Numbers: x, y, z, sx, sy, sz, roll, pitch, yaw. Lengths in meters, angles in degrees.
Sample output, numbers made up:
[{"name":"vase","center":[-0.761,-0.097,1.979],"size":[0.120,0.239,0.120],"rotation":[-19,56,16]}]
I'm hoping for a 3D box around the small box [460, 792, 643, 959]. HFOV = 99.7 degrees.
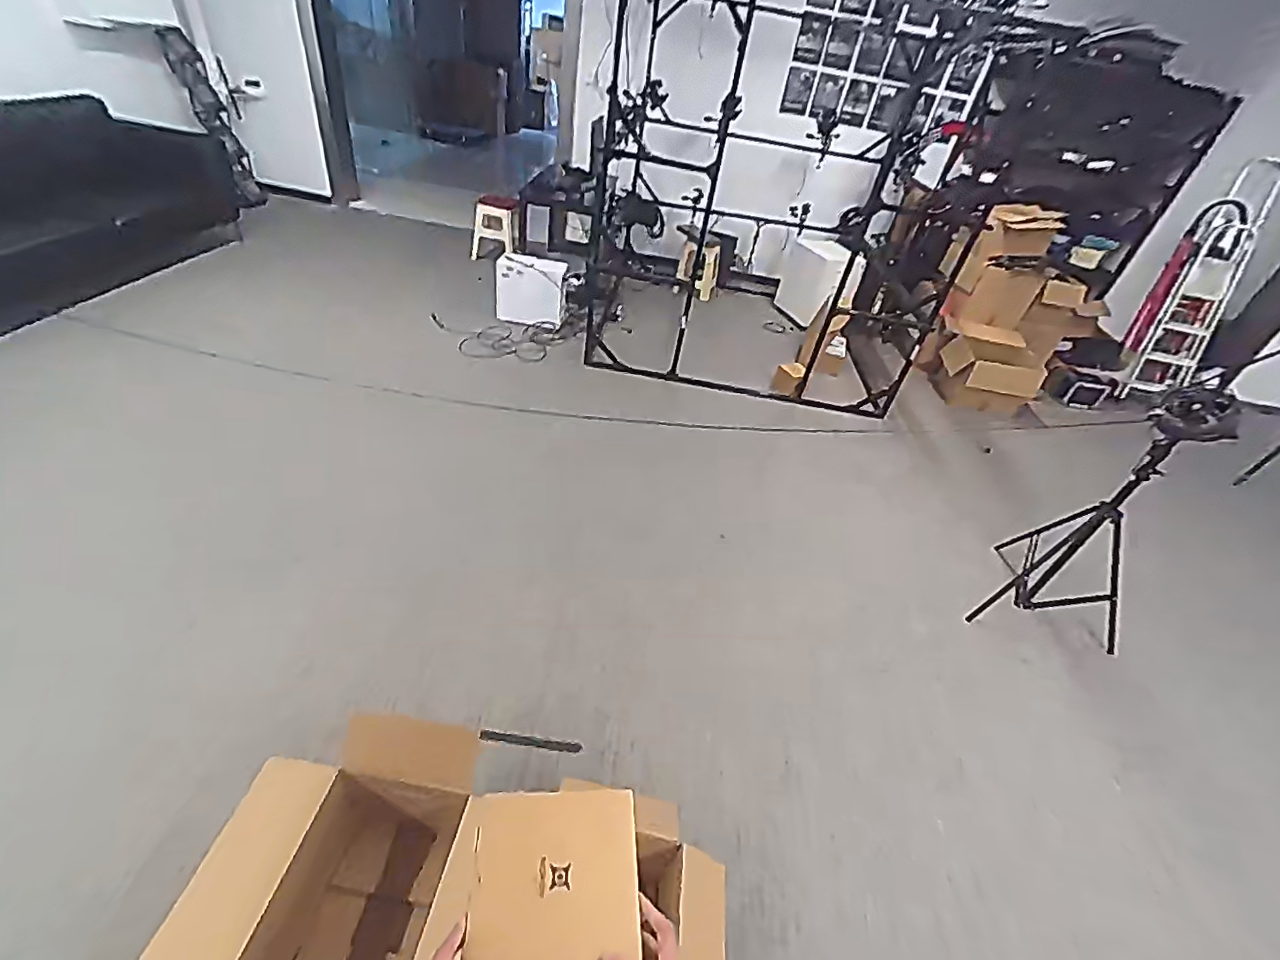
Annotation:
[{"name":"small box","center":[-0.096,0.475,0.615],"size":[0.179,0.176,0.168],"rotation":[1,41,-7]}]
